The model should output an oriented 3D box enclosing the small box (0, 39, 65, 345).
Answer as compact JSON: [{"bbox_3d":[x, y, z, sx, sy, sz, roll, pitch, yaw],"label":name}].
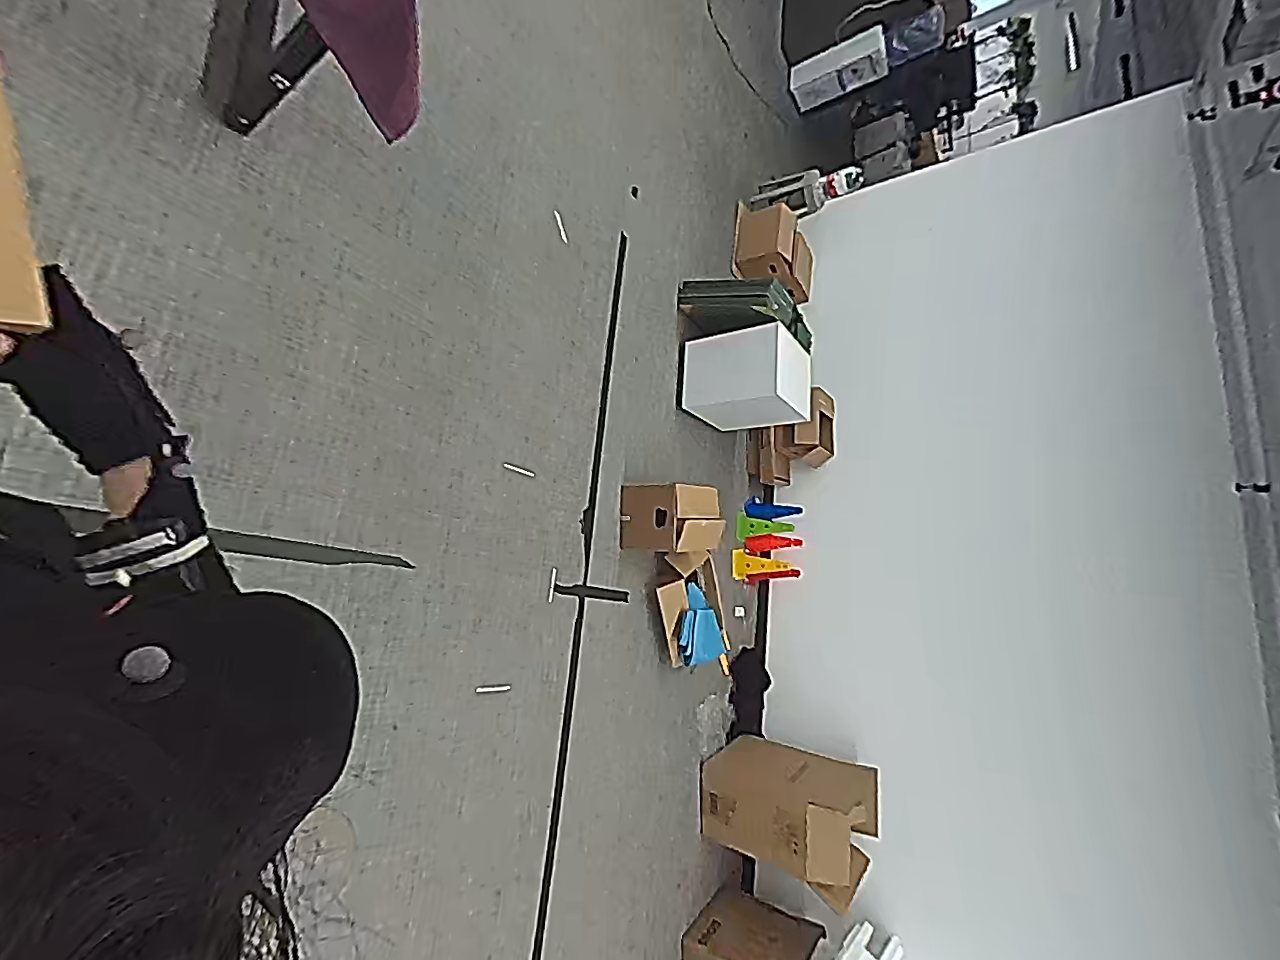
[{"bbox_3d":[-0.476,-0.166,0.289,0.168,0.176,0.179,-17,100,-68],"label":"small box"}]
